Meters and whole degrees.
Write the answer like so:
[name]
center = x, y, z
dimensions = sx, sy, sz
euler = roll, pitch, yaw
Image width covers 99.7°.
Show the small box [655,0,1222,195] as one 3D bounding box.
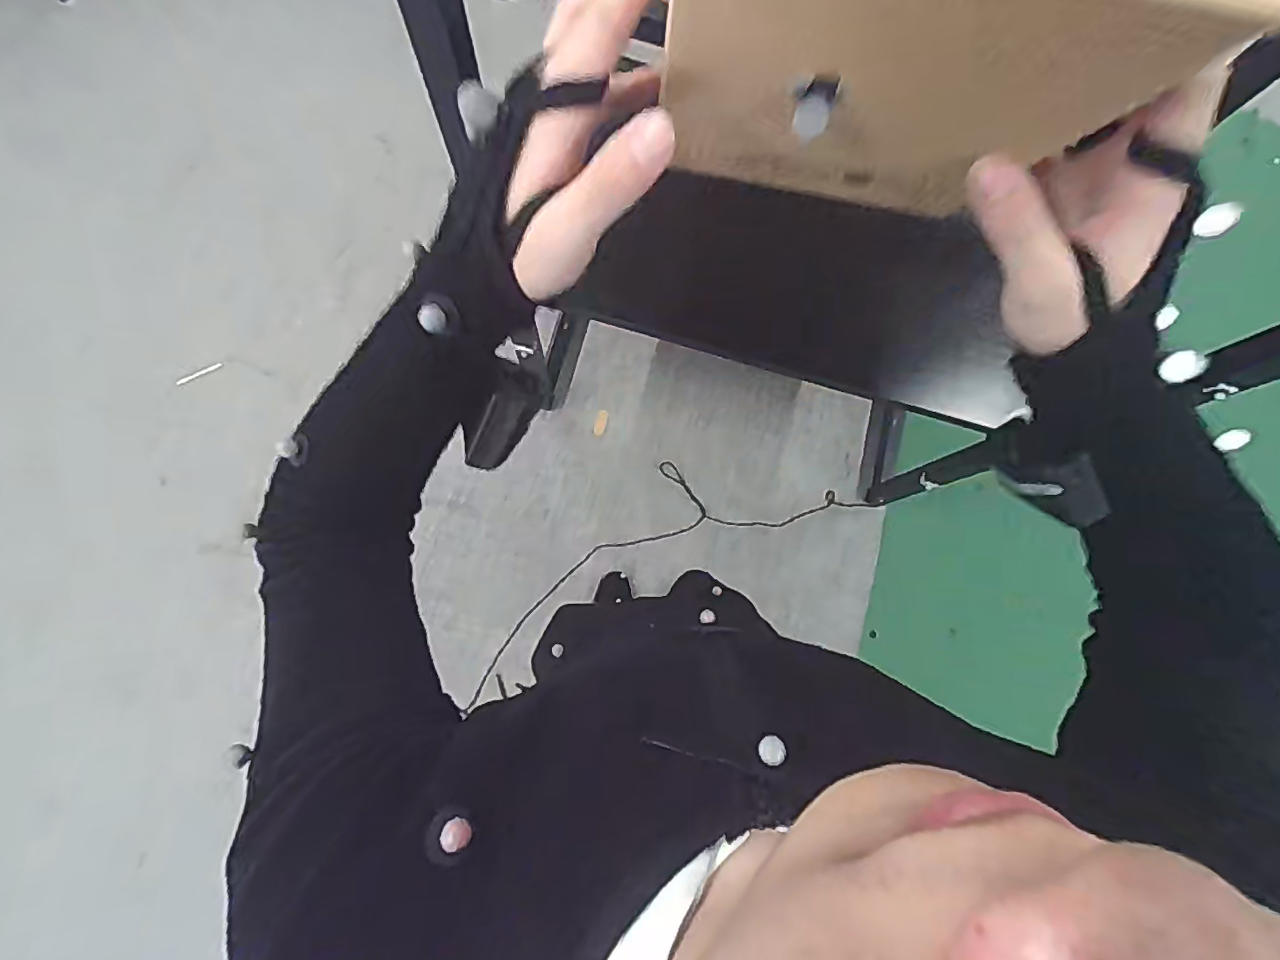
[small box]
center = 0.100, -0.234, 0.202
dimensions = 0.168, 0.176, 0.179
euler = 10, 98, 0
